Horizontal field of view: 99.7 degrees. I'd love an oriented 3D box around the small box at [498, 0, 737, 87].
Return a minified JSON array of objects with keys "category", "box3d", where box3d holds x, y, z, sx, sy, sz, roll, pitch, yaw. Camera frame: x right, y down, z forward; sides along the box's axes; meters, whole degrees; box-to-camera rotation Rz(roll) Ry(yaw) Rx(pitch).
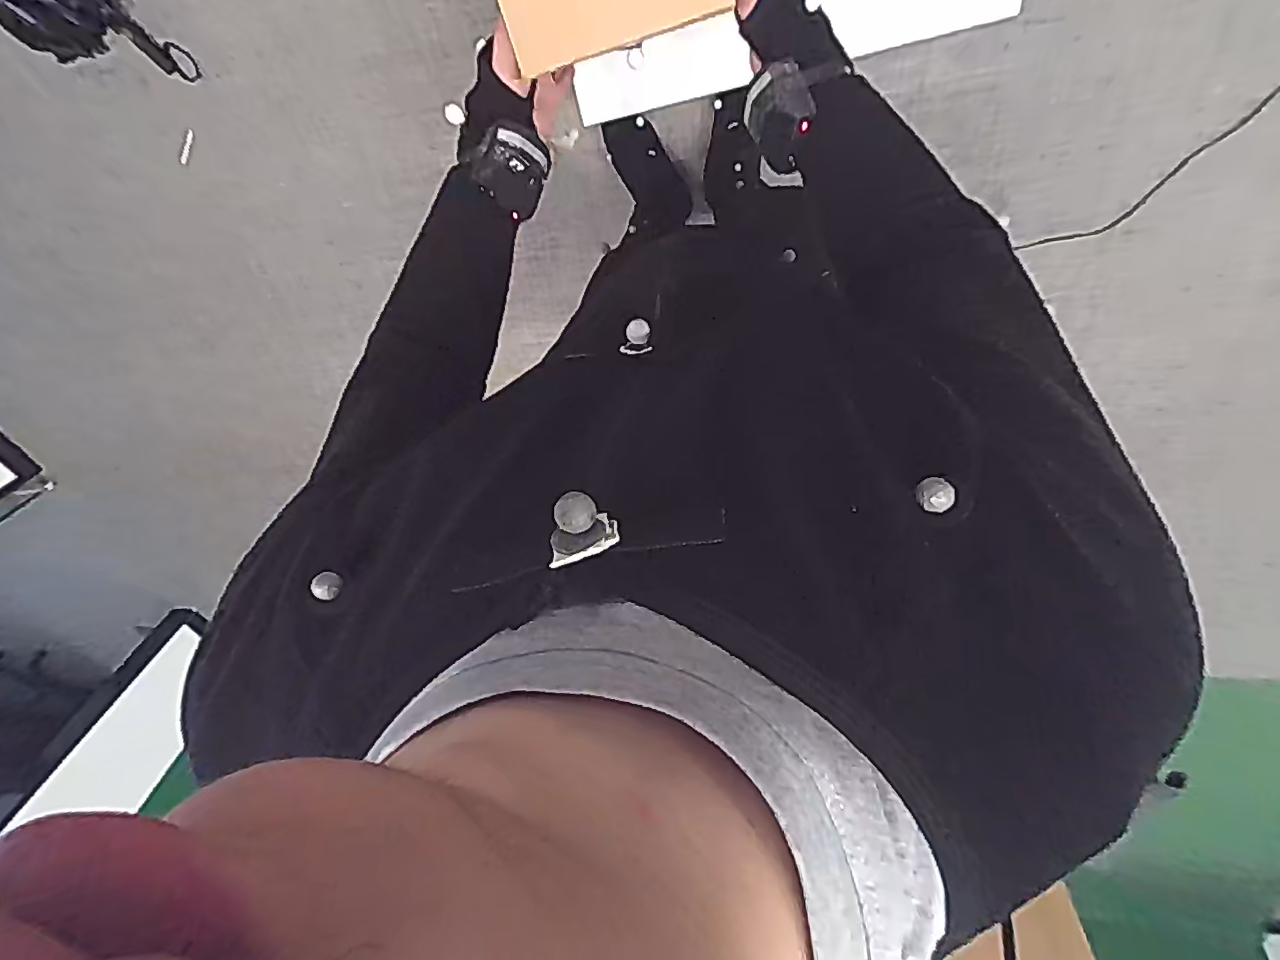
[{"category":"small box","box3d":[-0.020,-0.429,0.410,0.168,0.176,0.179,-6,128,16]}]
